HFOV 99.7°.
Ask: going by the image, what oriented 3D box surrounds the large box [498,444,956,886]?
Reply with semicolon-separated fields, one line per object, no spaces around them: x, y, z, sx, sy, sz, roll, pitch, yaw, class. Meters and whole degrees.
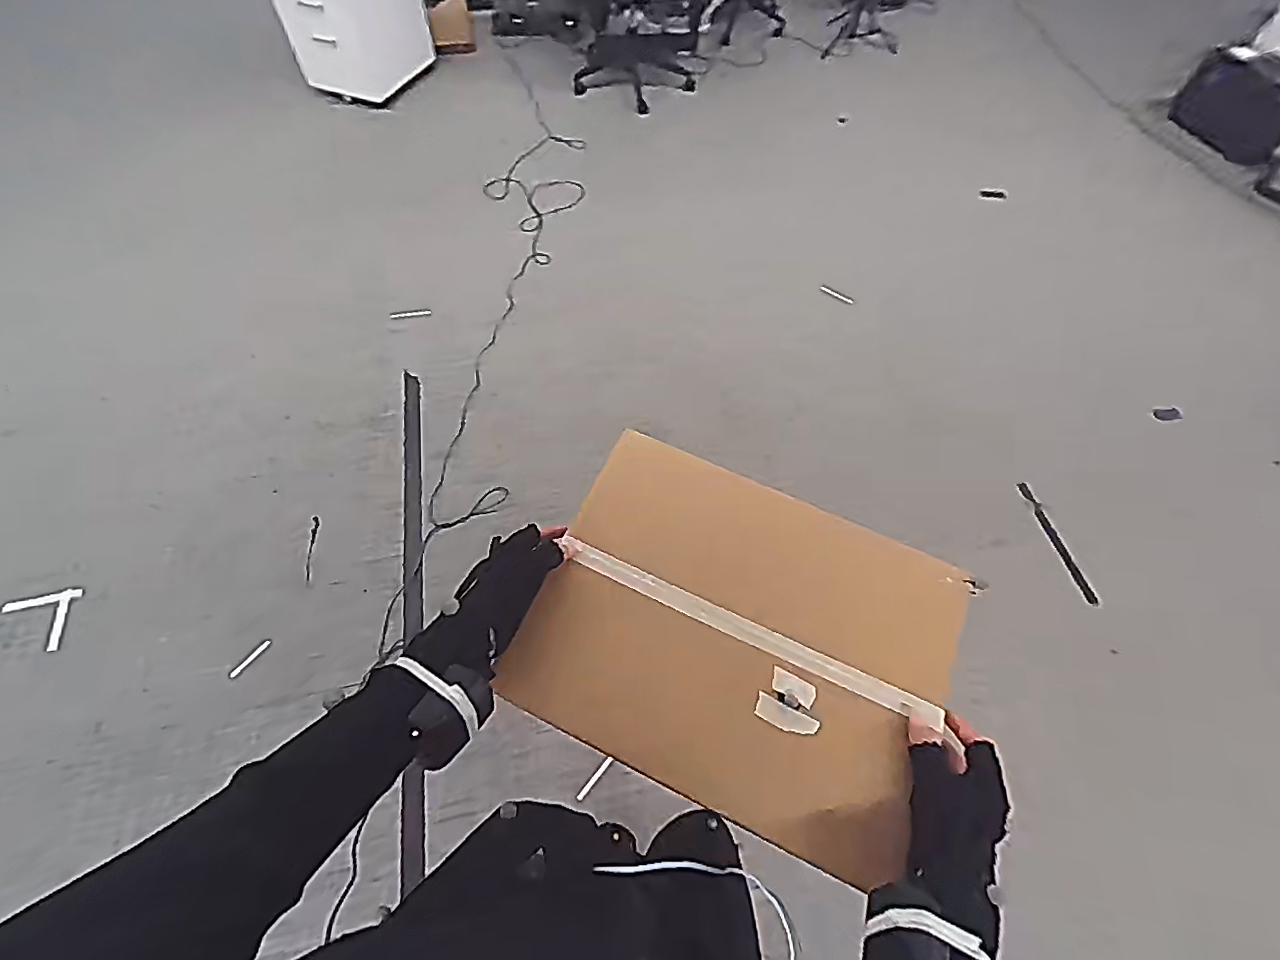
0.095;0.215;0.690;0.408;0.320;0.320;24;68;9;large box
